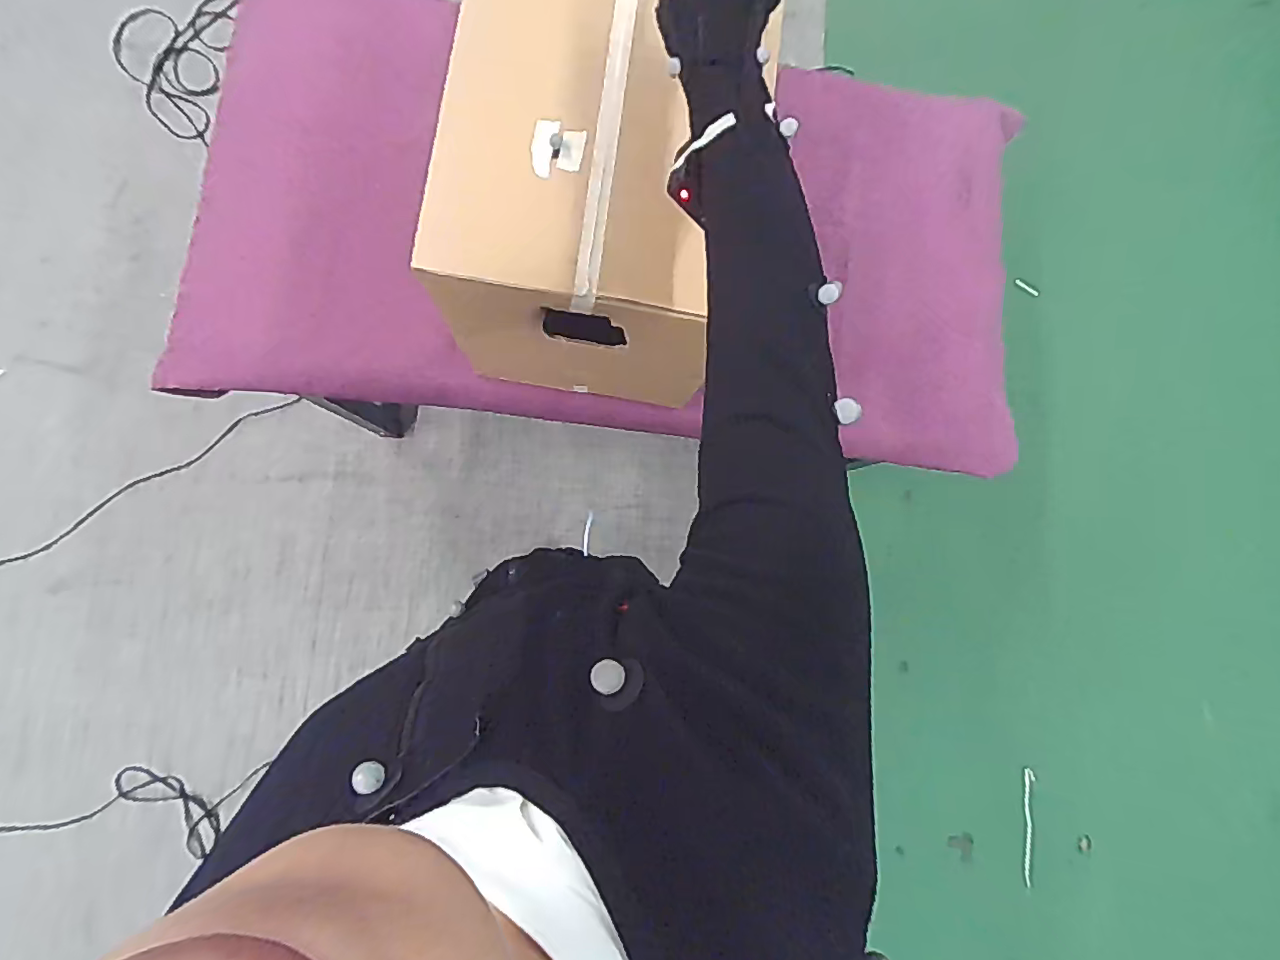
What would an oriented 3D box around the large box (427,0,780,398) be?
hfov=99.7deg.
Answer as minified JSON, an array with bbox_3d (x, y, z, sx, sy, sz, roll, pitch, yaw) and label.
[{"bbox_3d":[-0.043,-0.353,0.681,0.320,0.320,0.408,8,83,-6],"label":"large box"}]
